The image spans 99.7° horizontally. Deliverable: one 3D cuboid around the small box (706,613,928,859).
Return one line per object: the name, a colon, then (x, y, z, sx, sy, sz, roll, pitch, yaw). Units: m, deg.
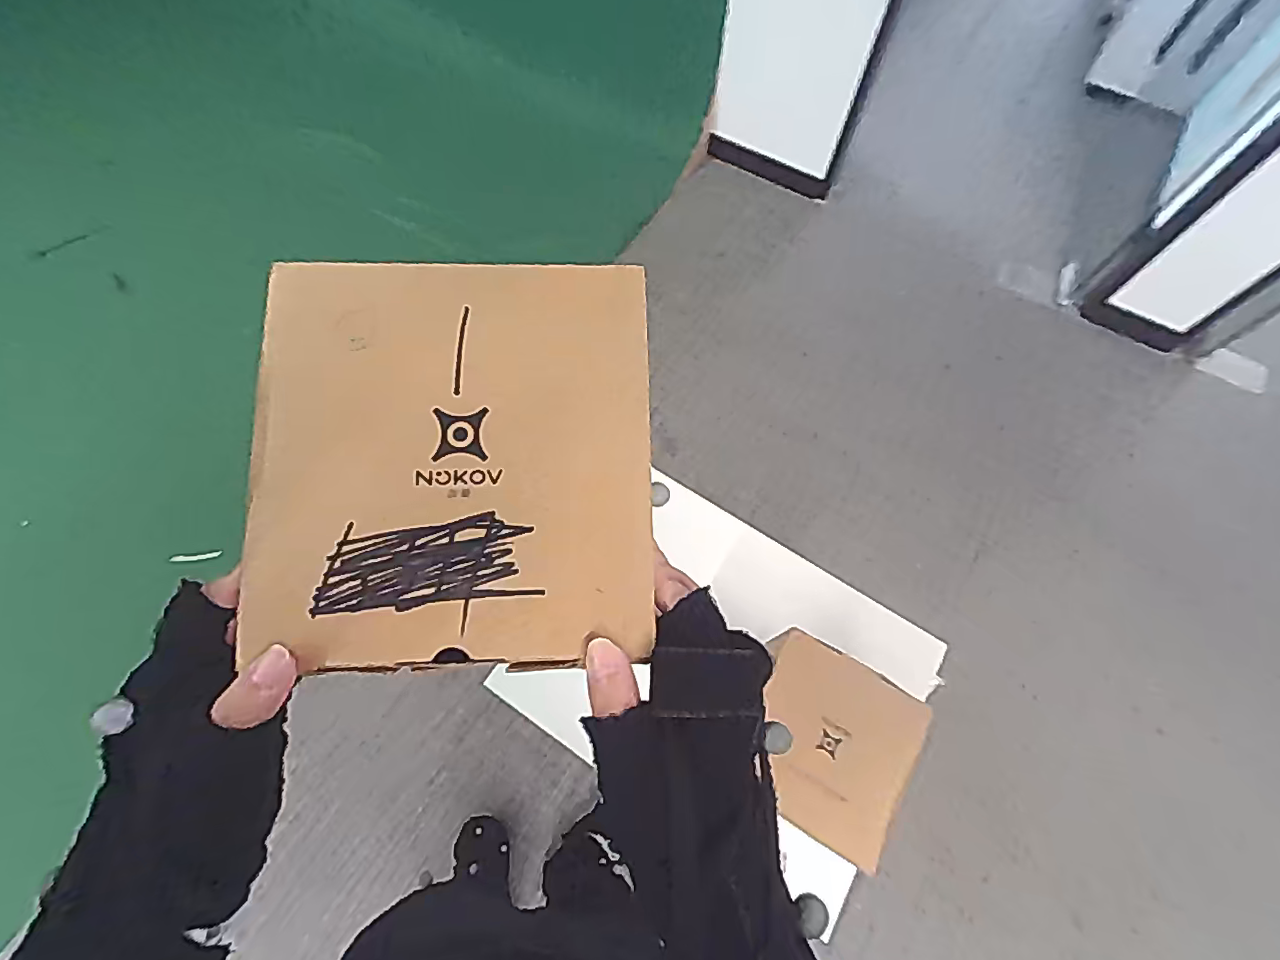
small box: (0.188, 0.281, 0.624, 0.168, 0.176, 0.179, 29, 71, 12)
